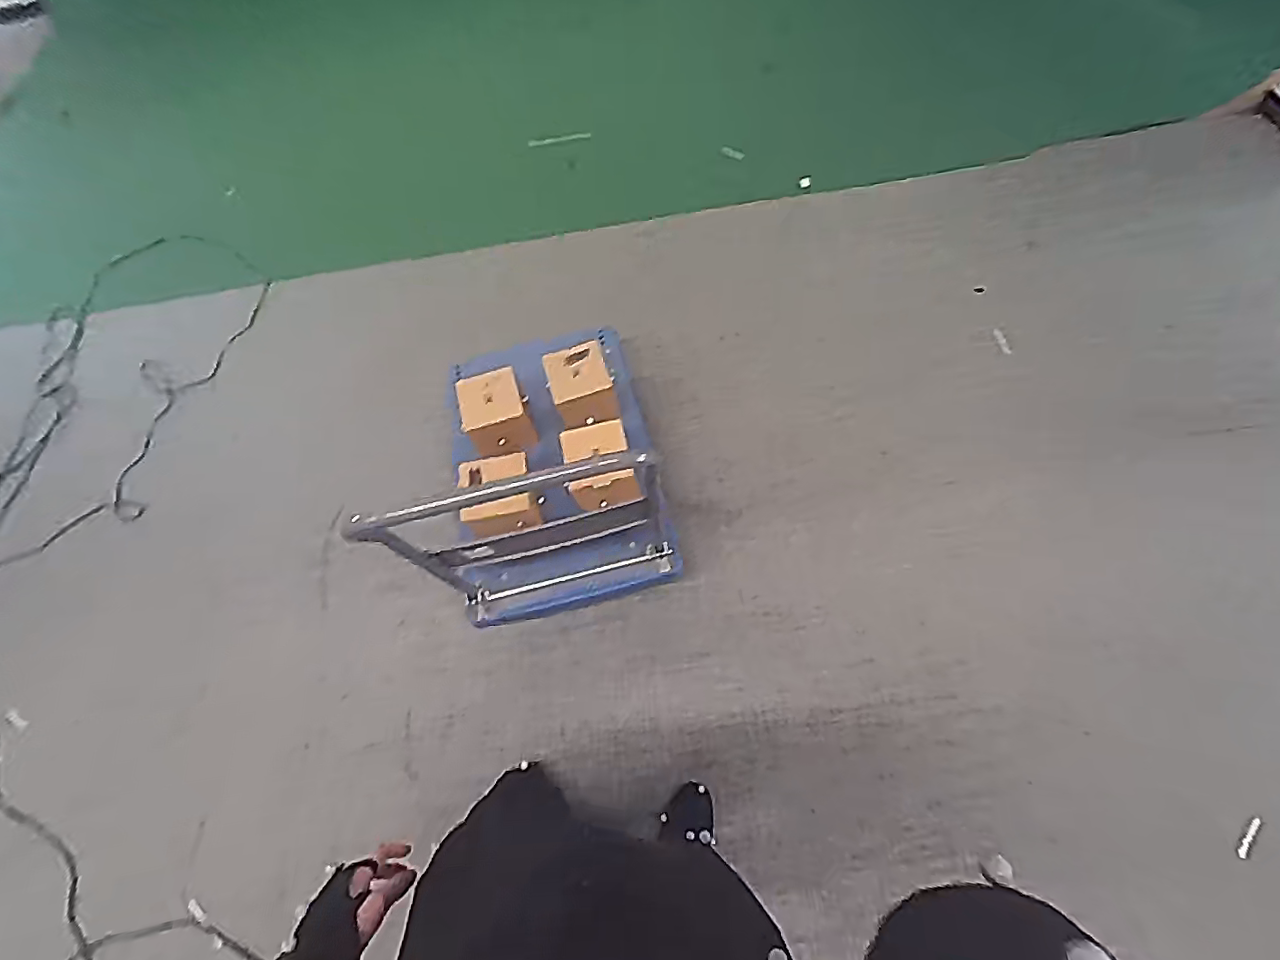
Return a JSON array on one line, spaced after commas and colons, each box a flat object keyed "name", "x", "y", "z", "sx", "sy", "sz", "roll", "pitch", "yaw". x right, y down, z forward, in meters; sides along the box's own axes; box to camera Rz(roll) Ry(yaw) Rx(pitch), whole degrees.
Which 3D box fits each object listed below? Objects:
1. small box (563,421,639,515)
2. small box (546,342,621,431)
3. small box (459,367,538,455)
[{"name": "small box", "x": -0.101, "y": -0.029, "z": 1.453, "sx": 0.168, "sy": 0.176, "sz": 0.179, "roll": -13, "pitch": 64, "yaw": -1}, {"name": "small box", "x": -0.162, "y": -0.264, "z": 1.571, "sx": 0.168, "sy": 0.176, "sz": 0.179, "roll": -17, "pitch": 65, "yaw": -2}, {"name": "small box", "x": -0.403, "y": -0.189, "z": 1.558, "sx": 0.168, "sy": 0.176, "sz": 0.179, "roll": -16, "pitch": 64, "yaw": -3}]
